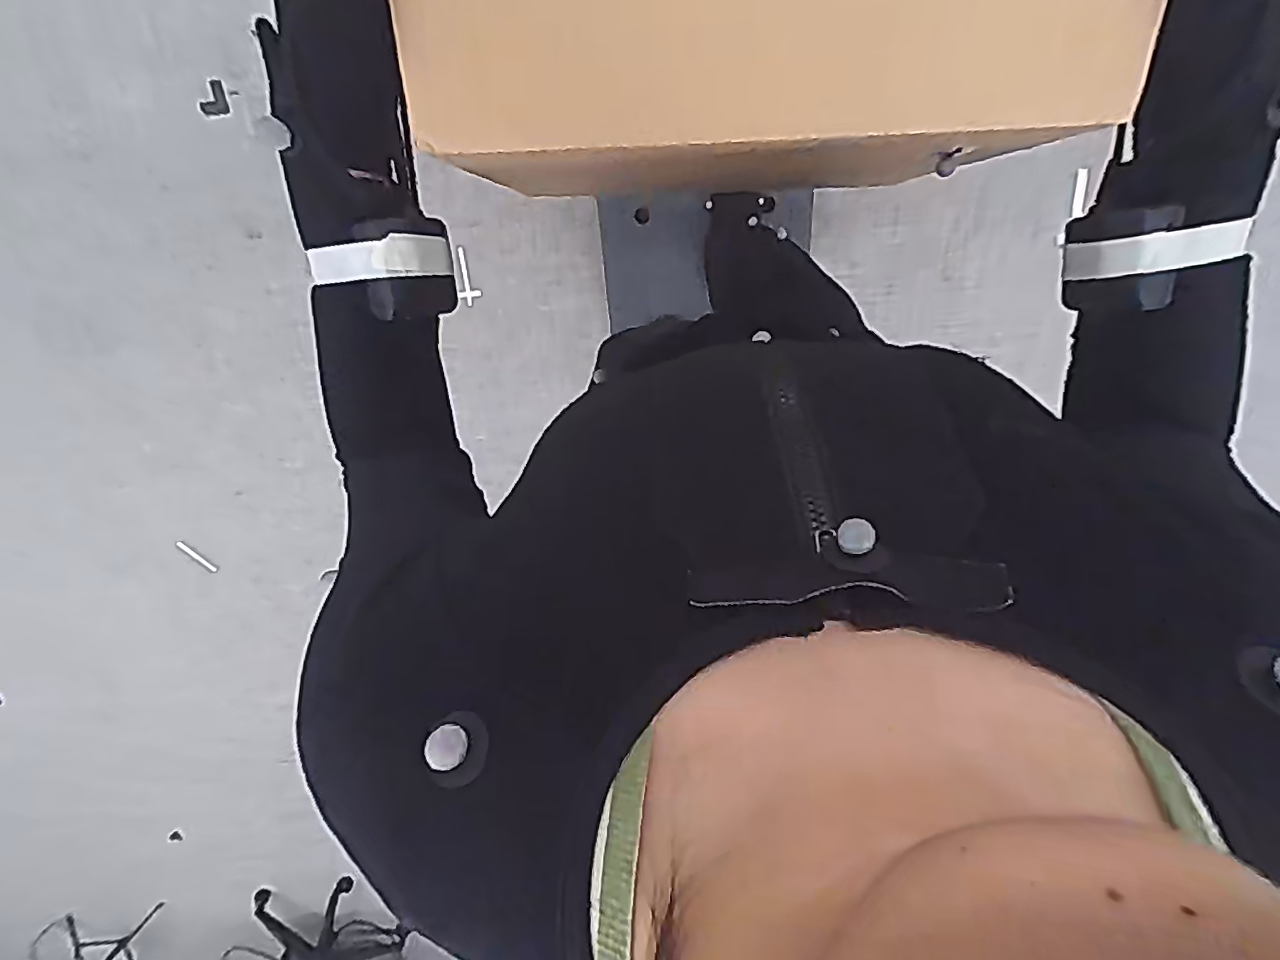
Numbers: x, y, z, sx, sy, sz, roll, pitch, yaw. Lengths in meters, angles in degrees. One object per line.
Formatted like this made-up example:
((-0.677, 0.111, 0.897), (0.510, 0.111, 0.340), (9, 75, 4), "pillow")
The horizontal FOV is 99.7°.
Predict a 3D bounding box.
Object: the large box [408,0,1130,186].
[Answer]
((0.068, -0.408, 0.394), (0.408, 0.320, 0.320), (-2, 113, 2), "large box")

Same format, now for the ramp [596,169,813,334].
((0.131, -0.818, 1.133), (0.509, 0.206, 0.991), (-5, 112, 4), "ramp")
